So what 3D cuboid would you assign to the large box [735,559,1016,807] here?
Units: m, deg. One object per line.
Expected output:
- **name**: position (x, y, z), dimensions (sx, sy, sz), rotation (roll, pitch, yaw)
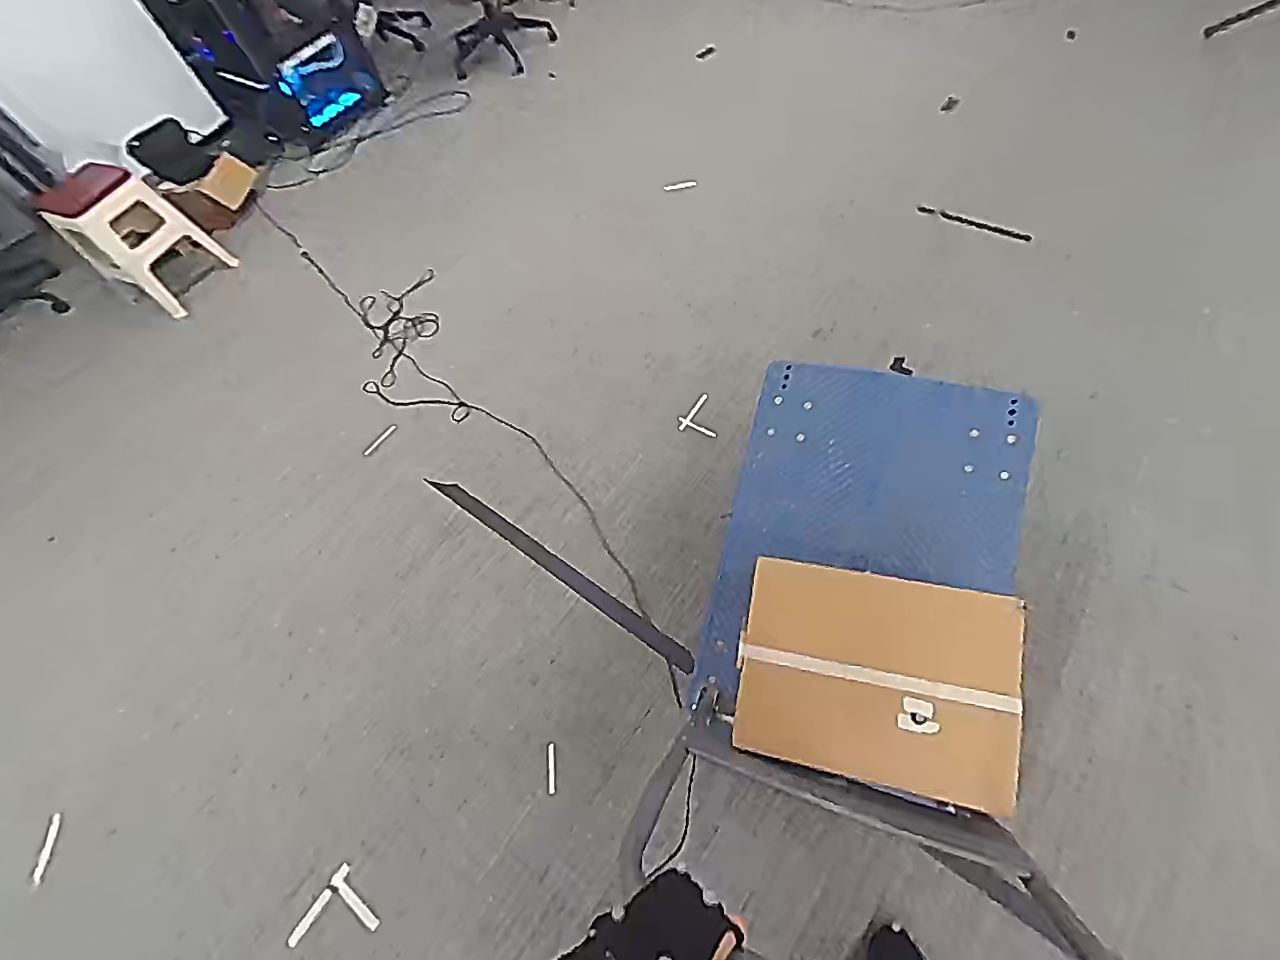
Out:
- **large box**: position (0.403, 0.341, 1.006), dimensions (0.408, 0.320, 0.320), rotation (8, 80, 15)
